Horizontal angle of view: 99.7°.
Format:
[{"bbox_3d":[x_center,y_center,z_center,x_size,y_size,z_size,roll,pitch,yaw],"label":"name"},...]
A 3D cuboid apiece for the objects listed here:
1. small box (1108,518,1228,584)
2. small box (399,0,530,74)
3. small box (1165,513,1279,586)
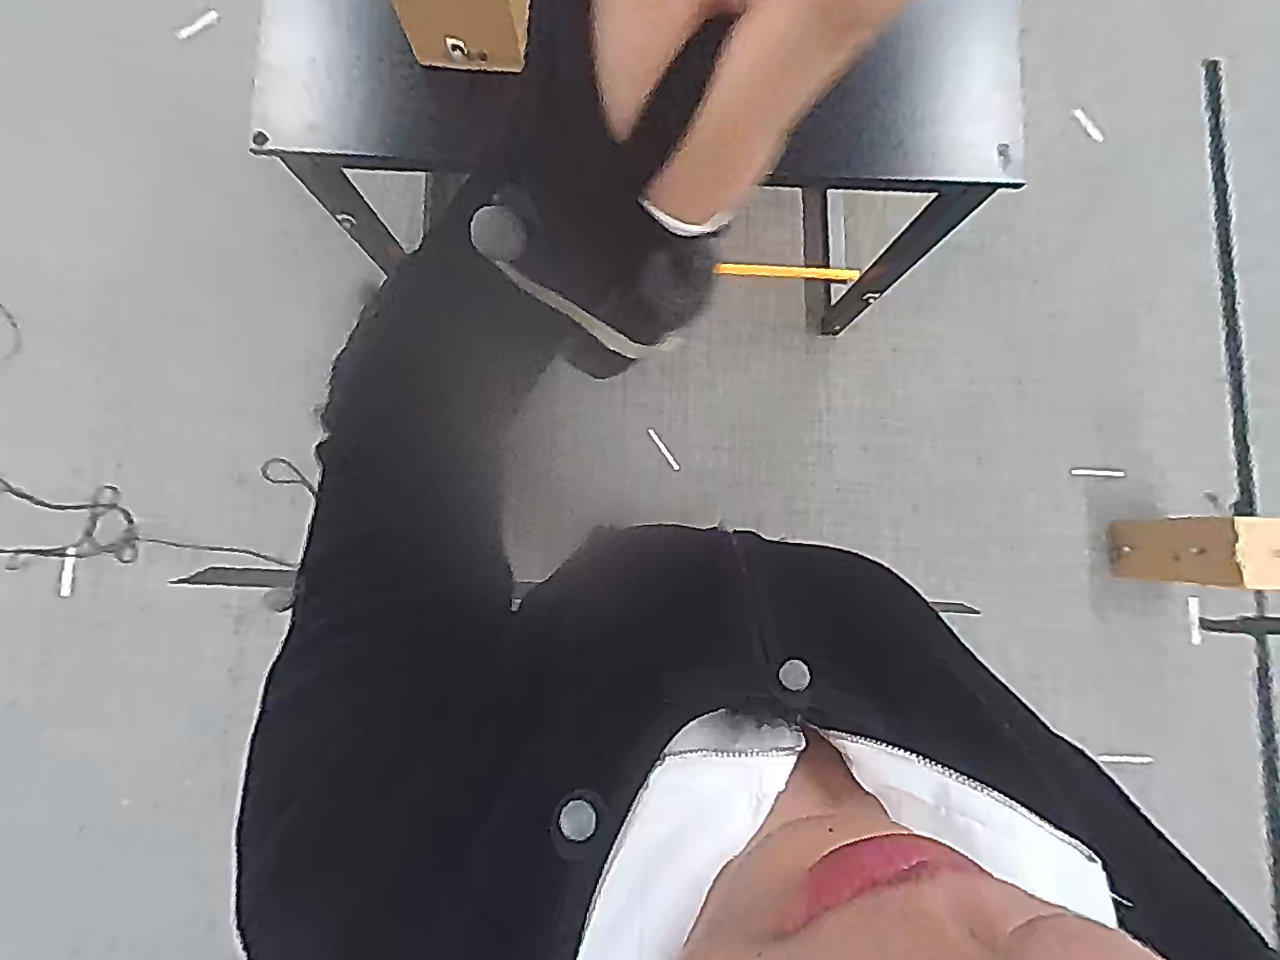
[{"bbox_3d":[1.443,0.190,1.482,0.179,0.176,0.168,3,84,-2],"label":"small box"},{"bbox_3d":[-0.255,-0.733,0.772,0.168,0.176,0.179,1,85,-1],"label":"small box"},{"bbox_3d":[1.438,0.168,1.320,0.179,0.176,0.168,1,85,-1],"label":"small box"}]
